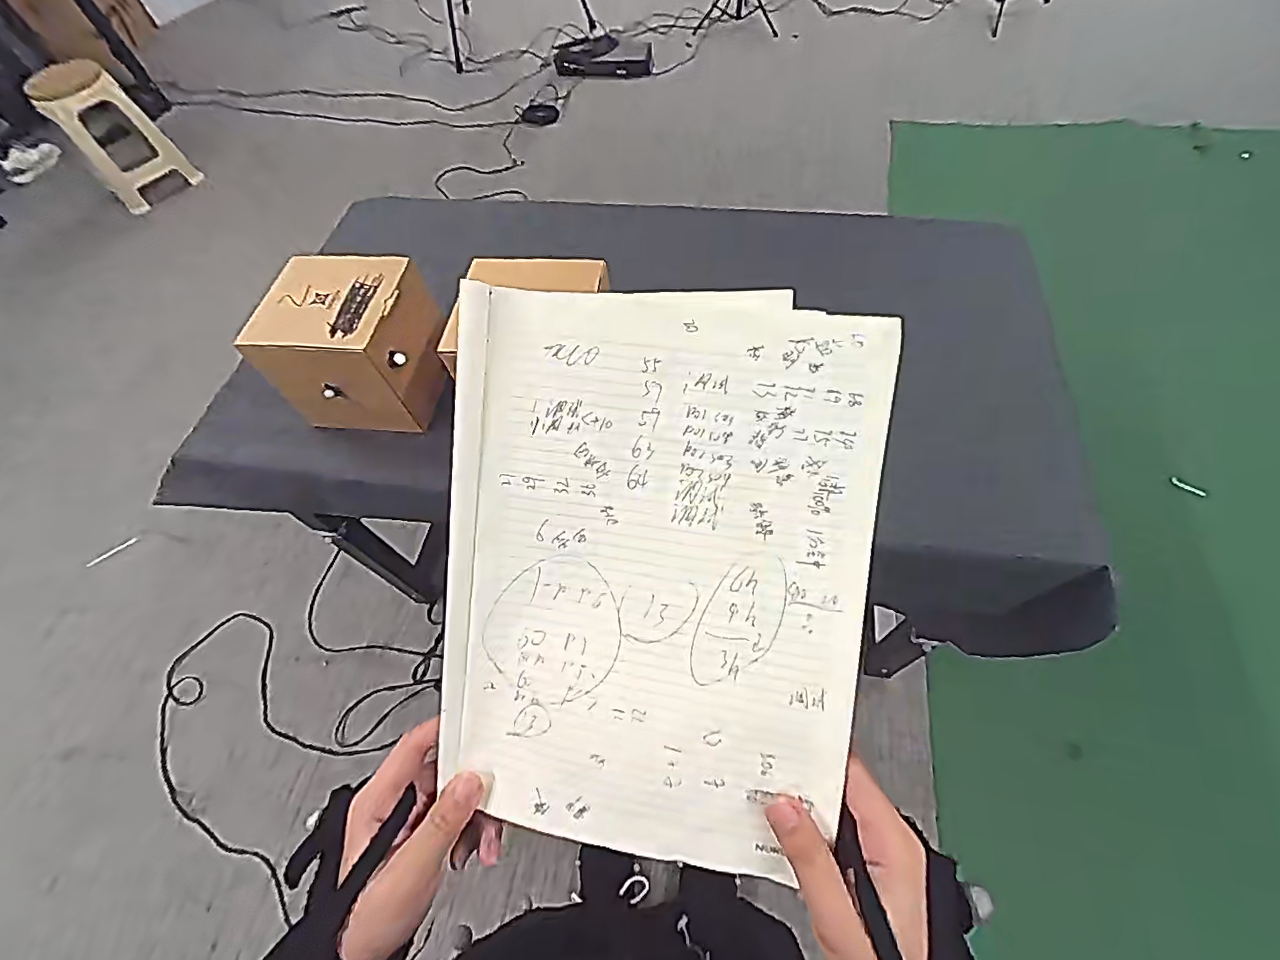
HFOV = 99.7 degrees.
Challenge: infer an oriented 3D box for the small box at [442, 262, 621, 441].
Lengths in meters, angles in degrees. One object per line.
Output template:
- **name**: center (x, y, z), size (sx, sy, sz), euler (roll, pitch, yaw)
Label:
- **small box**: center (-0.129, -0.166, 0.721), size (0.179, 0.176, 0.168), euler (3, 59, 7)
